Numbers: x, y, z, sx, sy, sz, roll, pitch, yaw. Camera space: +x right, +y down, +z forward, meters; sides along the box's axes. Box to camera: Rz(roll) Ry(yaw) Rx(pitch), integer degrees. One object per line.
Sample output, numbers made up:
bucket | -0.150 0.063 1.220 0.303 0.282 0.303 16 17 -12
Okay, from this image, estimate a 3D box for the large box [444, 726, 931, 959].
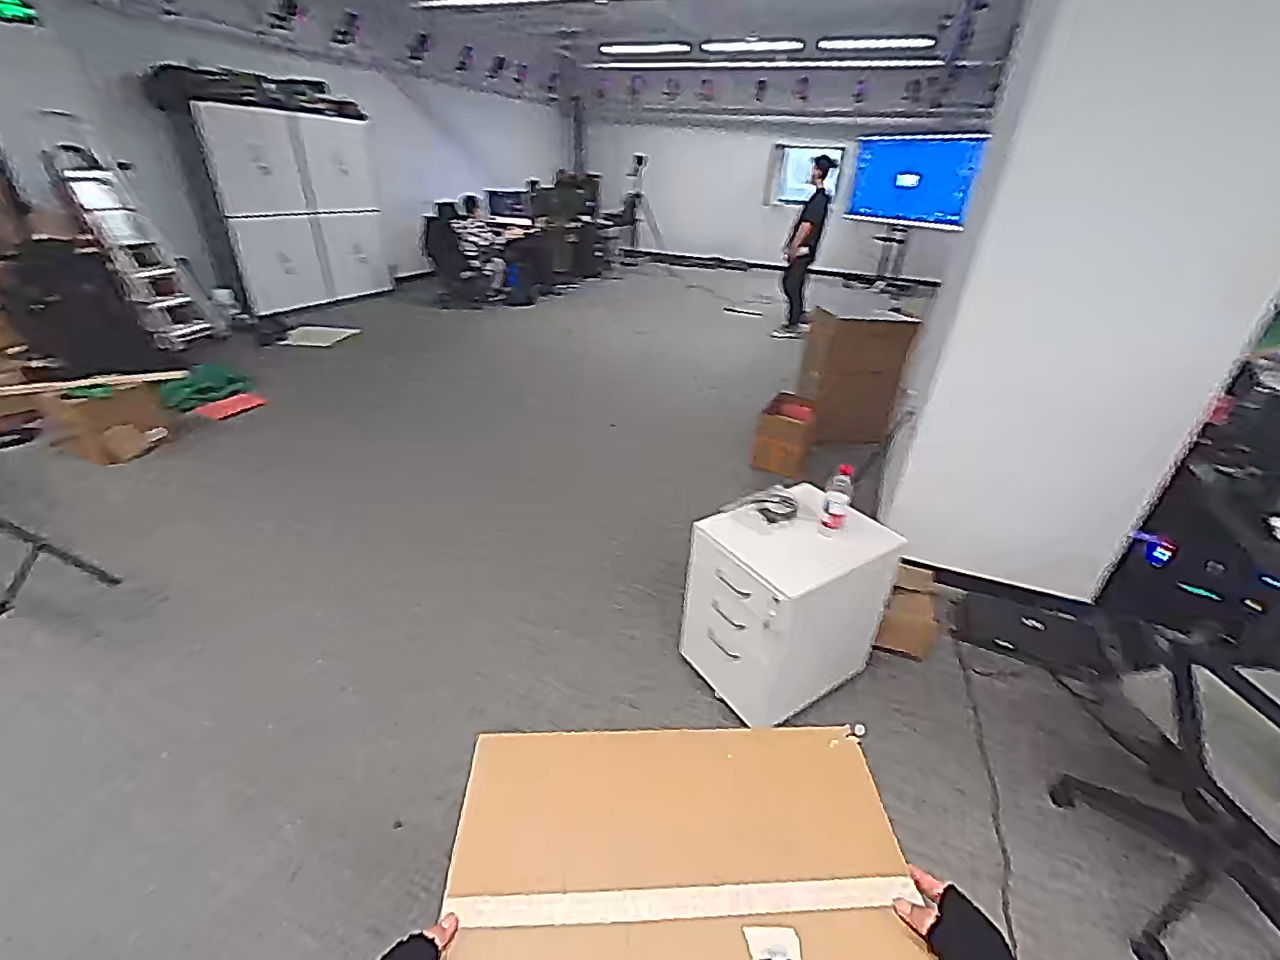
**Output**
large box | 0.031 0.488 0.551 0.408 0.320 0.320 0 34 -4
